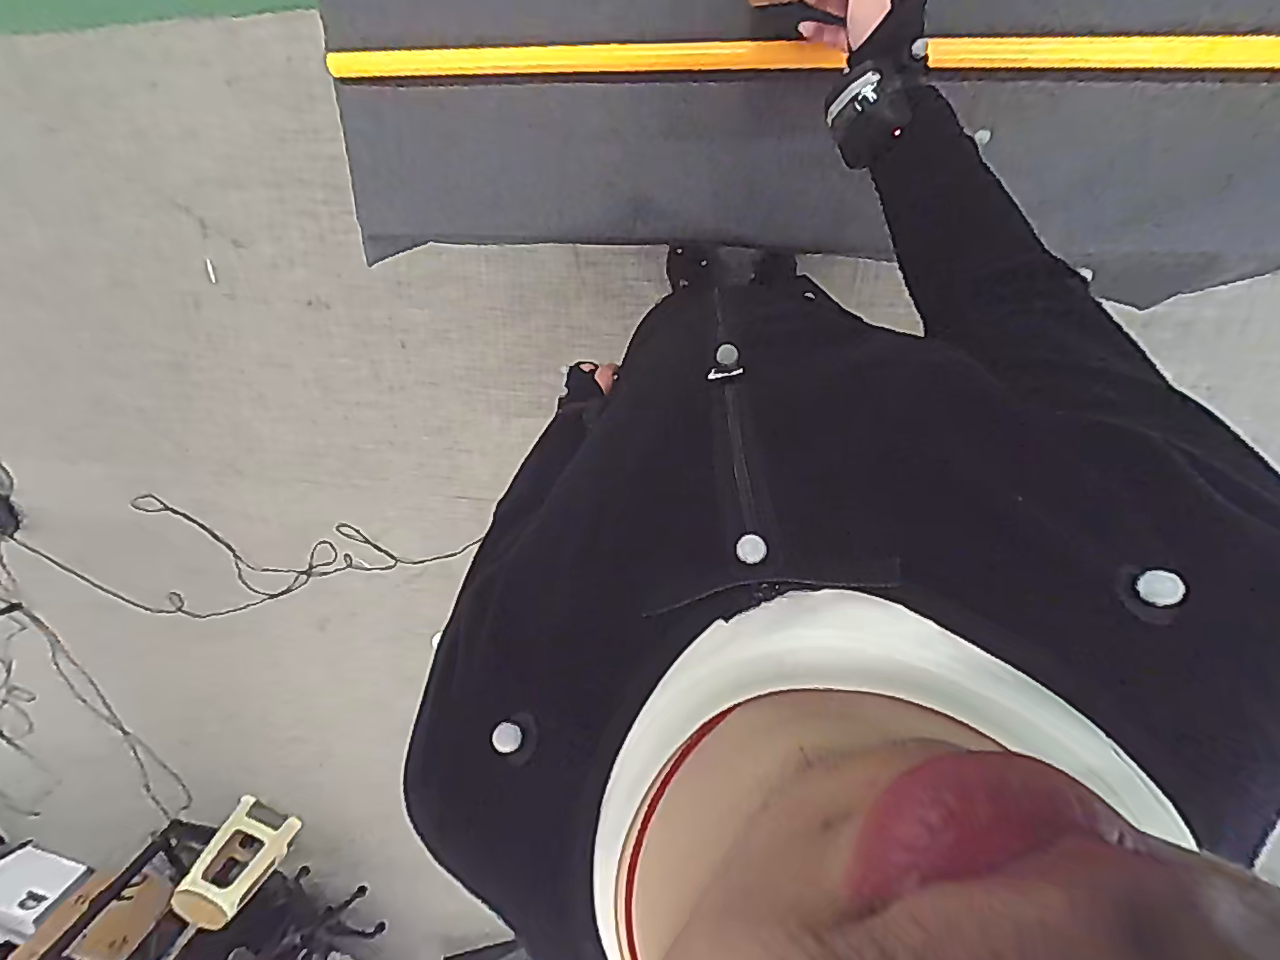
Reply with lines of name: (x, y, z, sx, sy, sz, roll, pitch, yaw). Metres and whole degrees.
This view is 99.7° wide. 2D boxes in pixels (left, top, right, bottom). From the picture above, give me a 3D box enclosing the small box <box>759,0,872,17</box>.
small box: (0.188, -0.561, 0.494, 0.168, 0.176, 0.179, 0, 115, 16)
